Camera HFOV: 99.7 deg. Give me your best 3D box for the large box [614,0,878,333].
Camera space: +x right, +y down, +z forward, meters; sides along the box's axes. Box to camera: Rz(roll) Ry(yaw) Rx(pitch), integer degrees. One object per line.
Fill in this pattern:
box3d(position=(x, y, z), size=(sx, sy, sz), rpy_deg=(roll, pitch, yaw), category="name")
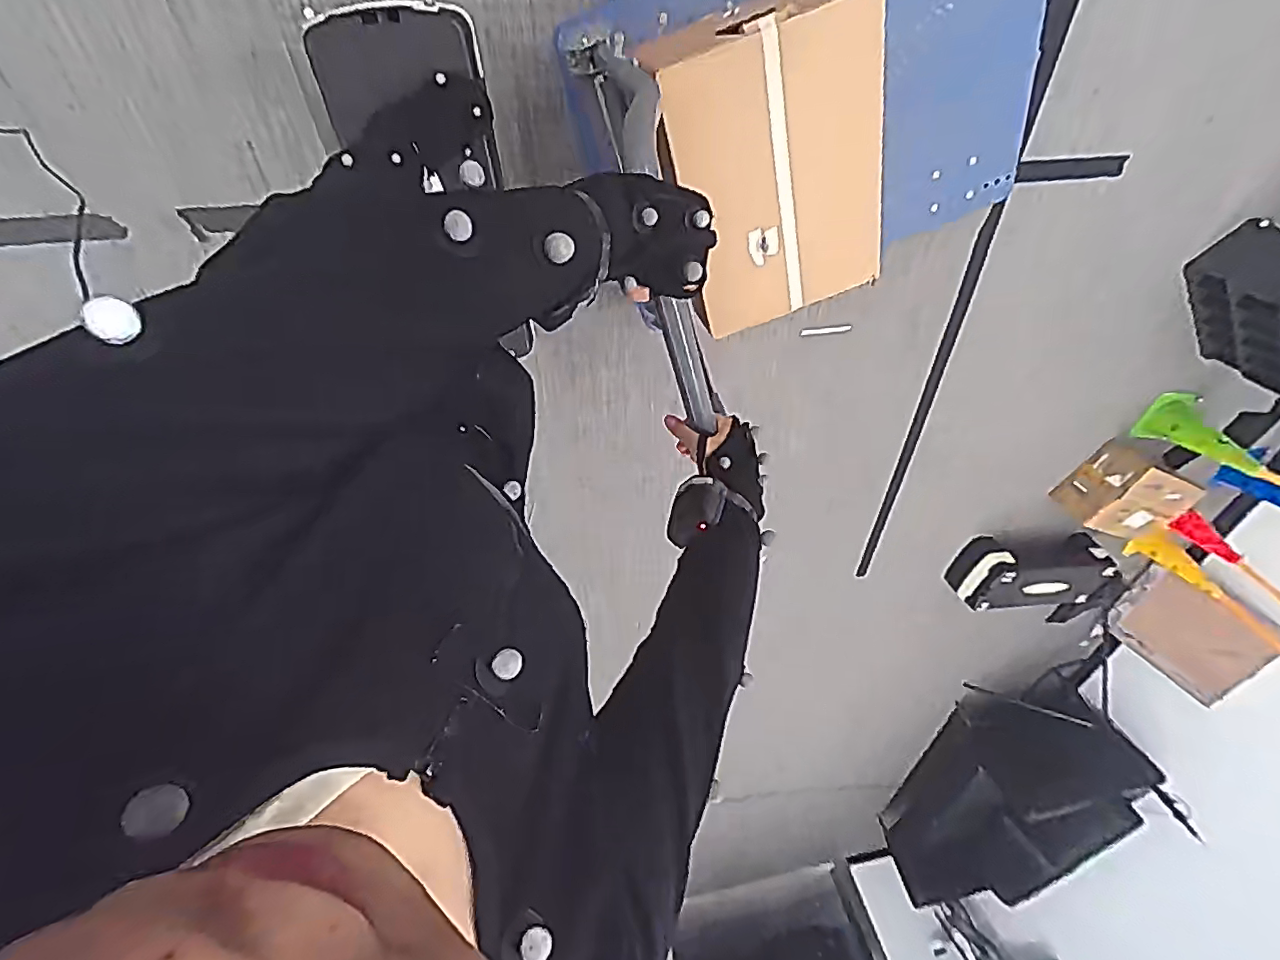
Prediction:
box3d(position=(0.183, -0.543, 0.931), size=(0.320, 0.320, 0.408), rpy_deg=(-20, 134, 3), category="large box")
